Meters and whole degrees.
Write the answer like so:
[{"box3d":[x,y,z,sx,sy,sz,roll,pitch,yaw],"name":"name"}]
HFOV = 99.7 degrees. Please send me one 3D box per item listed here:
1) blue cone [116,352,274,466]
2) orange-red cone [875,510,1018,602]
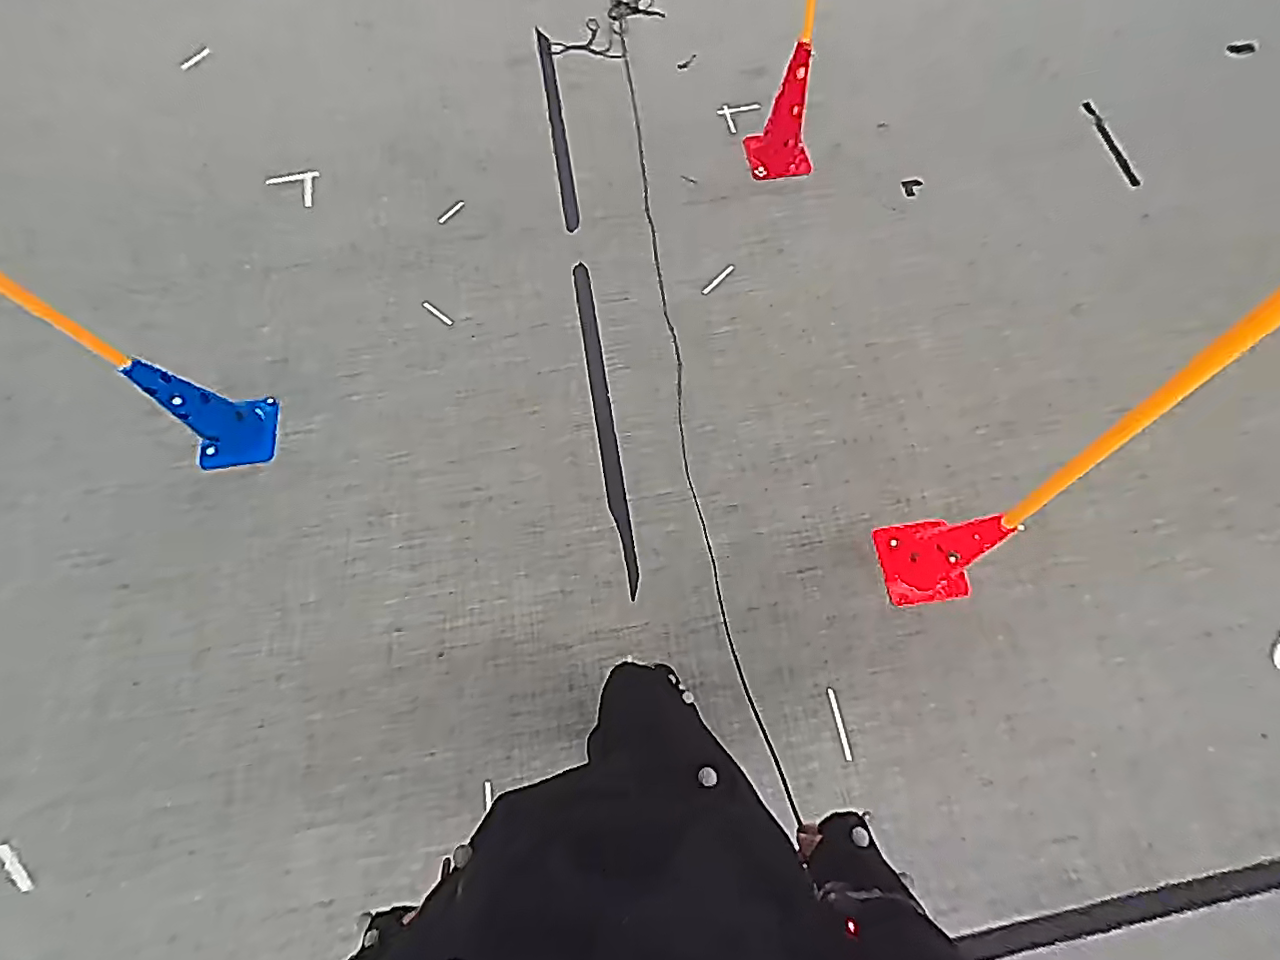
[{"box3d":[-1.119,-0.189,1.345,0.193,0.380,0.192,-7,69,-2],"name":"blue cone"},{"box3d":[0.691,0.135,1.173,0.198,0.360,0.199,-7,70,-1],"name":"orange-red cone"}]
